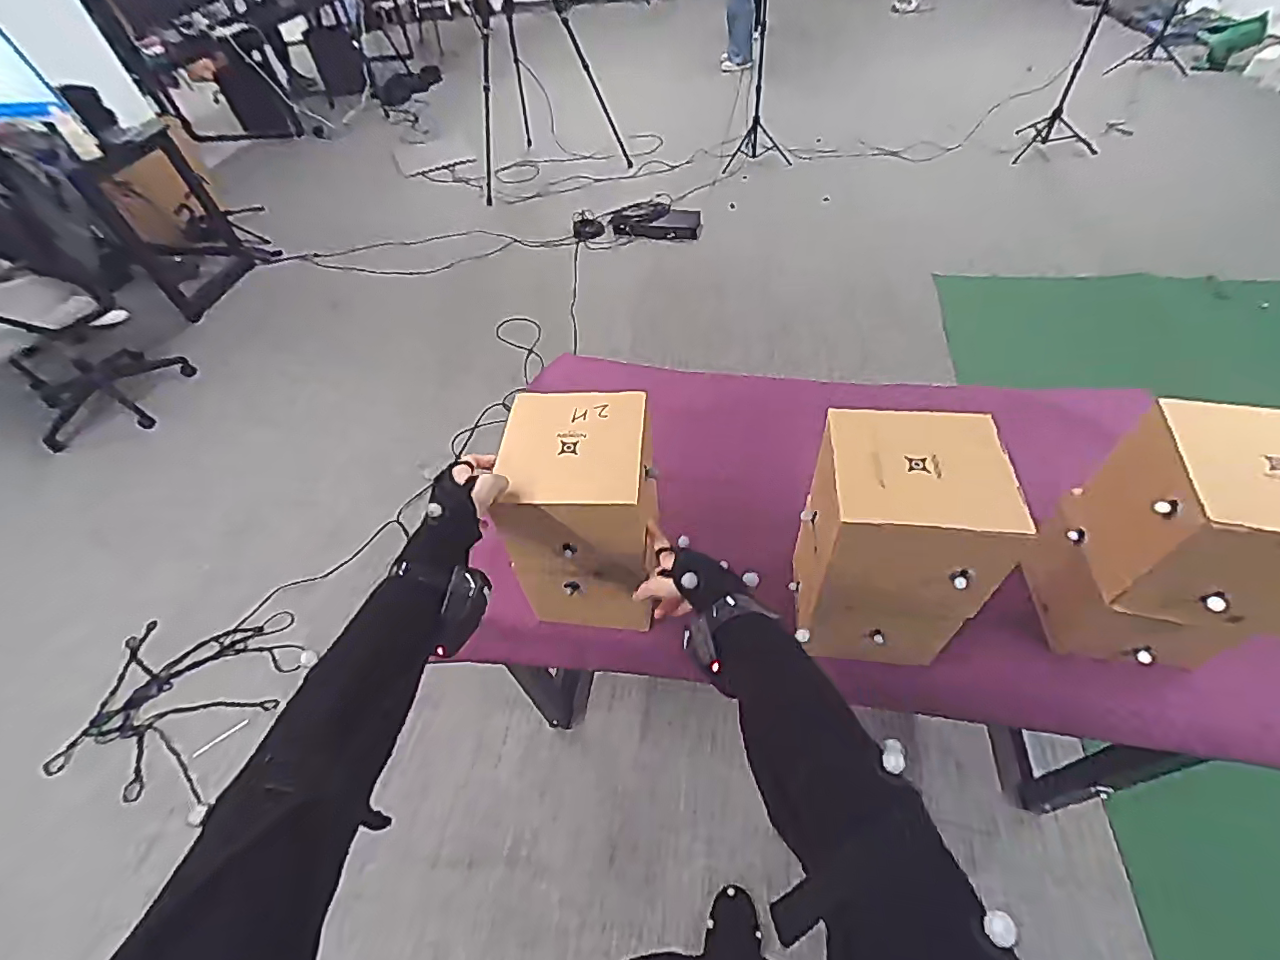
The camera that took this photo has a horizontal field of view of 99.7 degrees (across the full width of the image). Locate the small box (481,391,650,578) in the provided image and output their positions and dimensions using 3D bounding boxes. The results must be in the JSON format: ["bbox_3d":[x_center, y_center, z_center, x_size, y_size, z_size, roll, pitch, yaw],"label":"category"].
[{"bbox_3d":[-0.077,0.010,0.678,0.168,0.176,0.179,0,50,6],"label":"small box"}]

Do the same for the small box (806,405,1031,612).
[{"bbox_3d":[0.292,0.035,0.615,0.179,0.176,0.168,3,48,11],"label":"small box"}]

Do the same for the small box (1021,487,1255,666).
[{"bbox_3d":[0.649,0.129,0.709,0.179,0.176,0.168,3,49,11],"label":"small box"}]

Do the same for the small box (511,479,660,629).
[{"bbox_3d":[-0.069,0.109,0.810,0.179,0.176,0.168,3,50,8],"label":"small box"}]

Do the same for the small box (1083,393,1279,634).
[{"bbox_3d":[0.617,0.035,0.576,0.168,0.176,0.179,9,52,15],"label":"small box"}]
